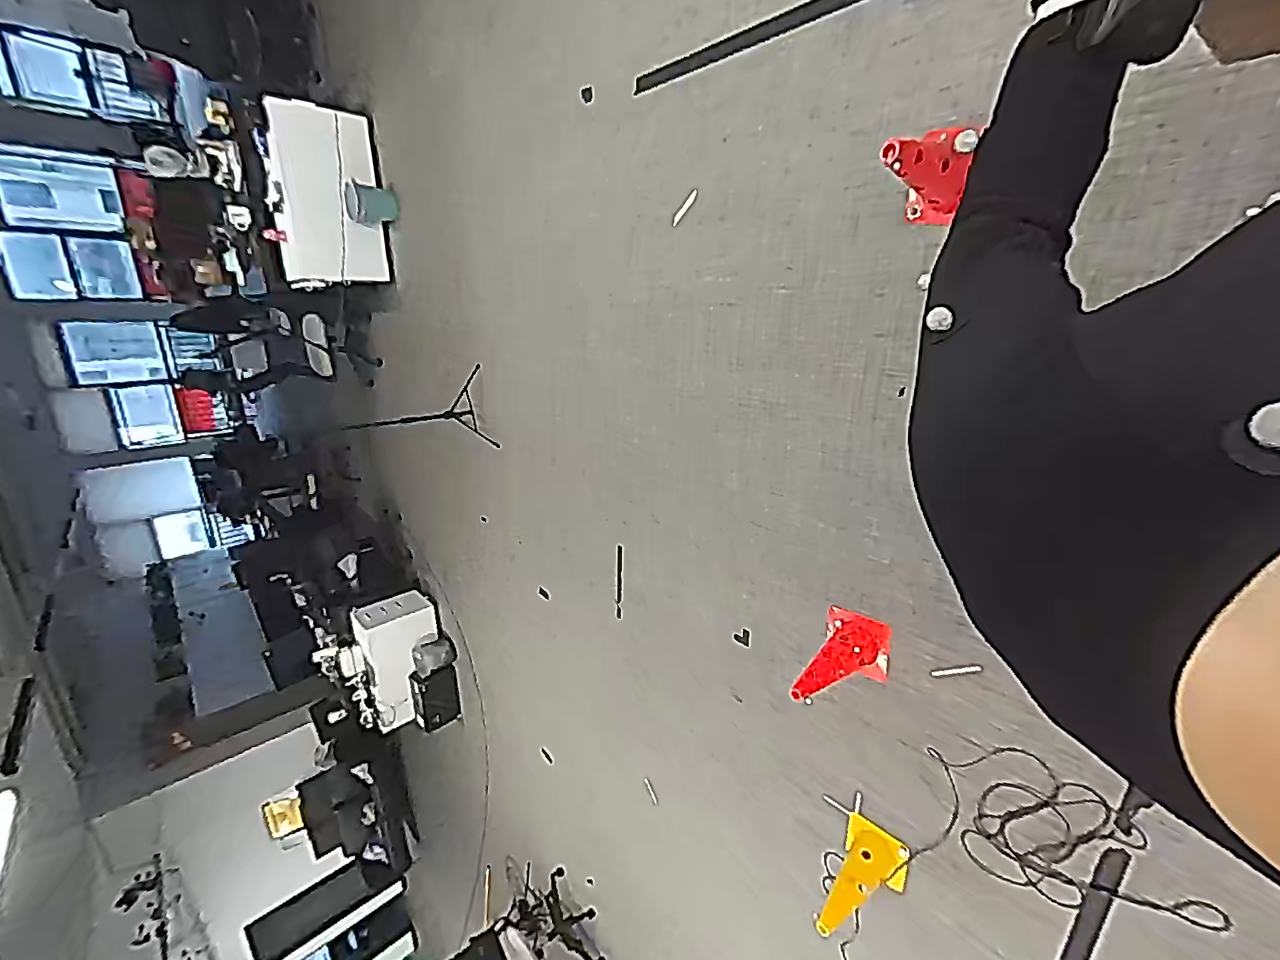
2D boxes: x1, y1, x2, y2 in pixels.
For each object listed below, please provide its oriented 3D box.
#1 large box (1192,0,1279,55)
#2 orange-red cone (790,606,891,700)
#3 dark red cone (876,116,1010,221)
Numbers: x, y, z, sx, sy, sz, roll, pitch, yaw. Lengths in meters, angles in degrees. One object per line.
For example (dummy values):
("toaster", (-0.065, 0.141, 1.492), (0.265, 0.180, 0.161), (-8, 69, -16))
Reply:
("large box", (0.553, -0.451, 0.228), (0.408, 0.320, 0.320), (19, 123, 45))
("orange-red cone", (0.559, 0.548, 1.589), (0.198, 0.360, 0.199), (16, 115, 46))
("dark red cone", (0.587, -0.663, 1.118), (0.201, 0.394, 0.202), (25, 120, 41))
